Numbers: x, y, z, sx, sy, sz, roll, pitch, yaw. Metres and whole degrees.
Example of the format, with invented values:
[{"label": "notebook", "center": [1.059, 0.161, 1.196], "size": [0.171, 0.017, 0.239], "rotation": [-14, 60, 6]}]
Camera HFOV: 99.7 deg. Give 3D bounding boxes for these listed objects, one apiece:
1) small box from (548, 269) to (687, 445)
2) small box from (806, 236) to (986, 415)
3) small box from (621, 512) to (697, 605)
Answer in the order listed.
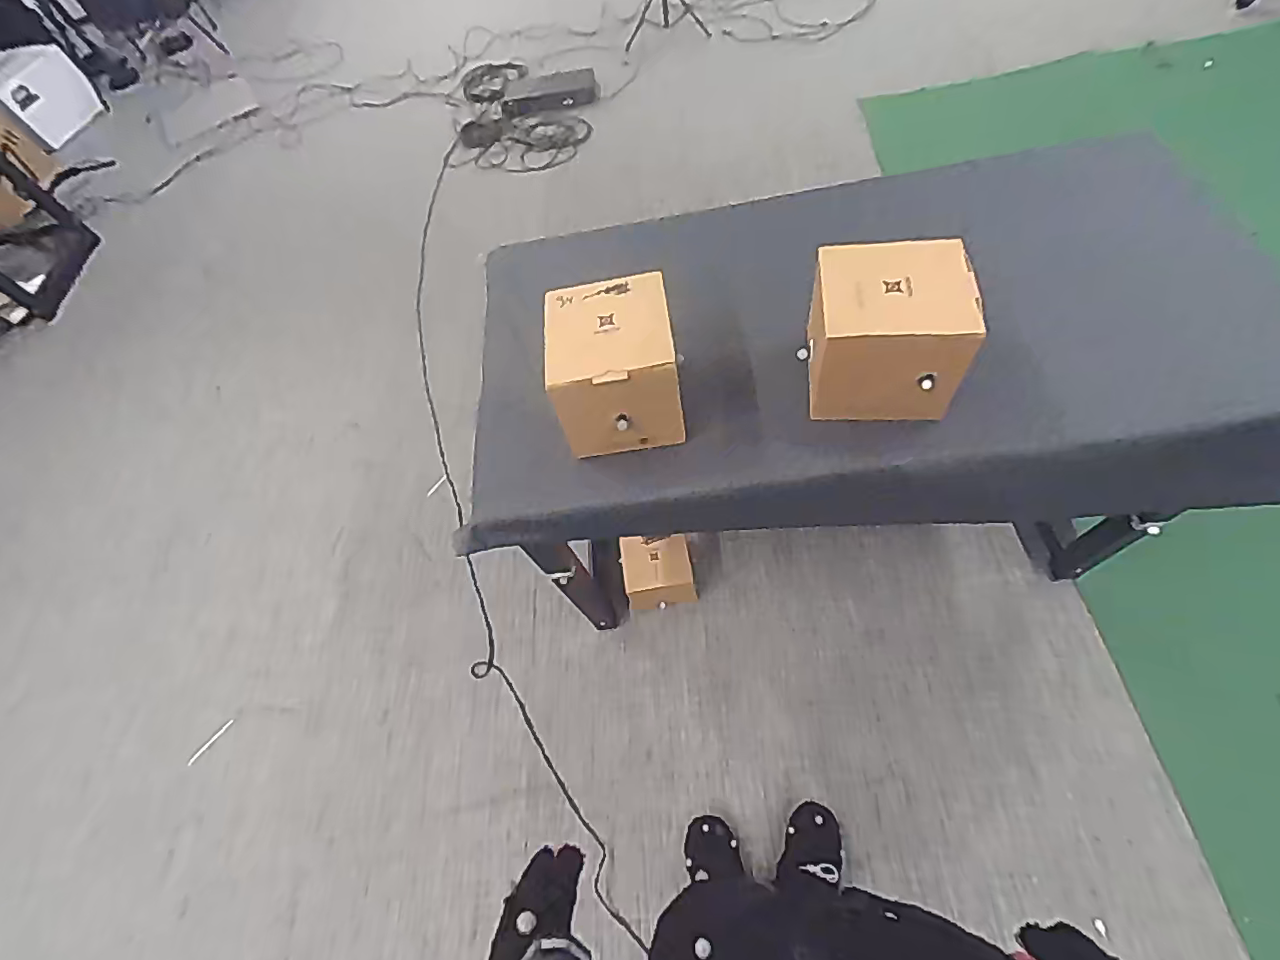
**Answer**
[{"label": "small box", "center": [-0.028, -0.164, 0.771], "size": [0.168, 0.176, 0.179], "rotation": [-9, 59, 4]}, {"label": "small box", "center": [0.328, -0.201, 0.733], "size": [0.179, 0.176, 0.168], "rotation": [0, 60, 11]}, {"label": "small box", "center": [0.051, 0.207, 1.397], "size": [0.168, 0.176, 0.179], "rotation": [-11, 61, 4]}]
